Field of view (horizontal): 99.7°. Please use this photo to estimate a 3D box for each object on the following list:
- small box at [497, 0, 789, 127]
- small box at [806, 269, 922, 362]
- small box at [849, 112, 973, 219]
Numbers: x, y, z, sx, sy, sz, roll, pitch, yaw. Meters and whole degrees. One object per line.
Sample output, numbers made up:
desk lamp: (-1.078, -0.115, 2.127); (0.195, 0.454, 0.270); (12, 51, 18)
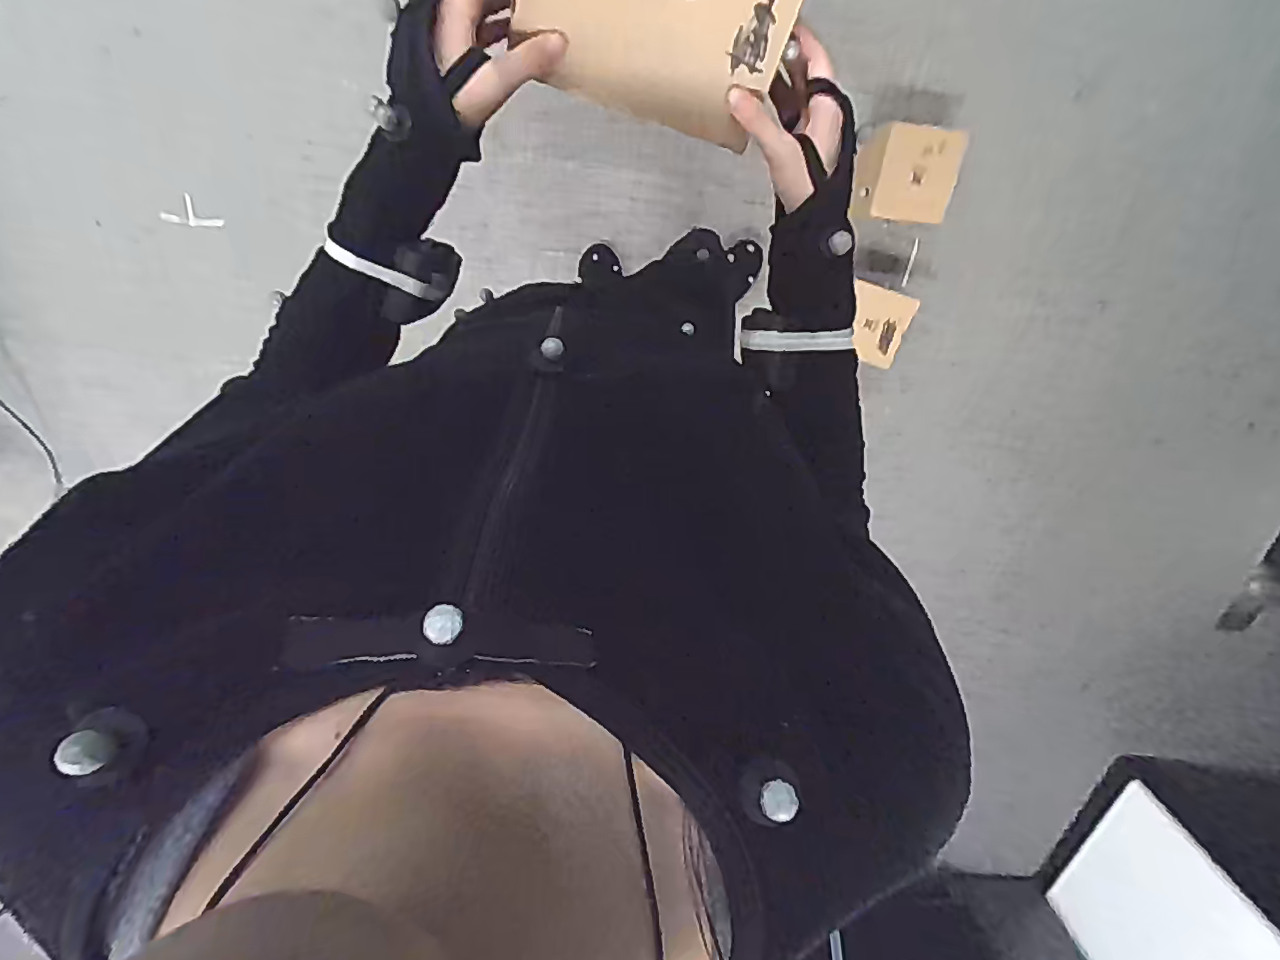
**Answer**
small box: (0.015, -0.380, 0.370); (0.179, 0.176, 0.168); (13, 135, -11)
small box: (0.536, -0.407, 1.318); (0.179, 0.176, 0.168); (15, 114, -7)
small box: (0.580, -0.679, 1.187); (0.168, 0.176, 0.179); (6, 114, -4)
